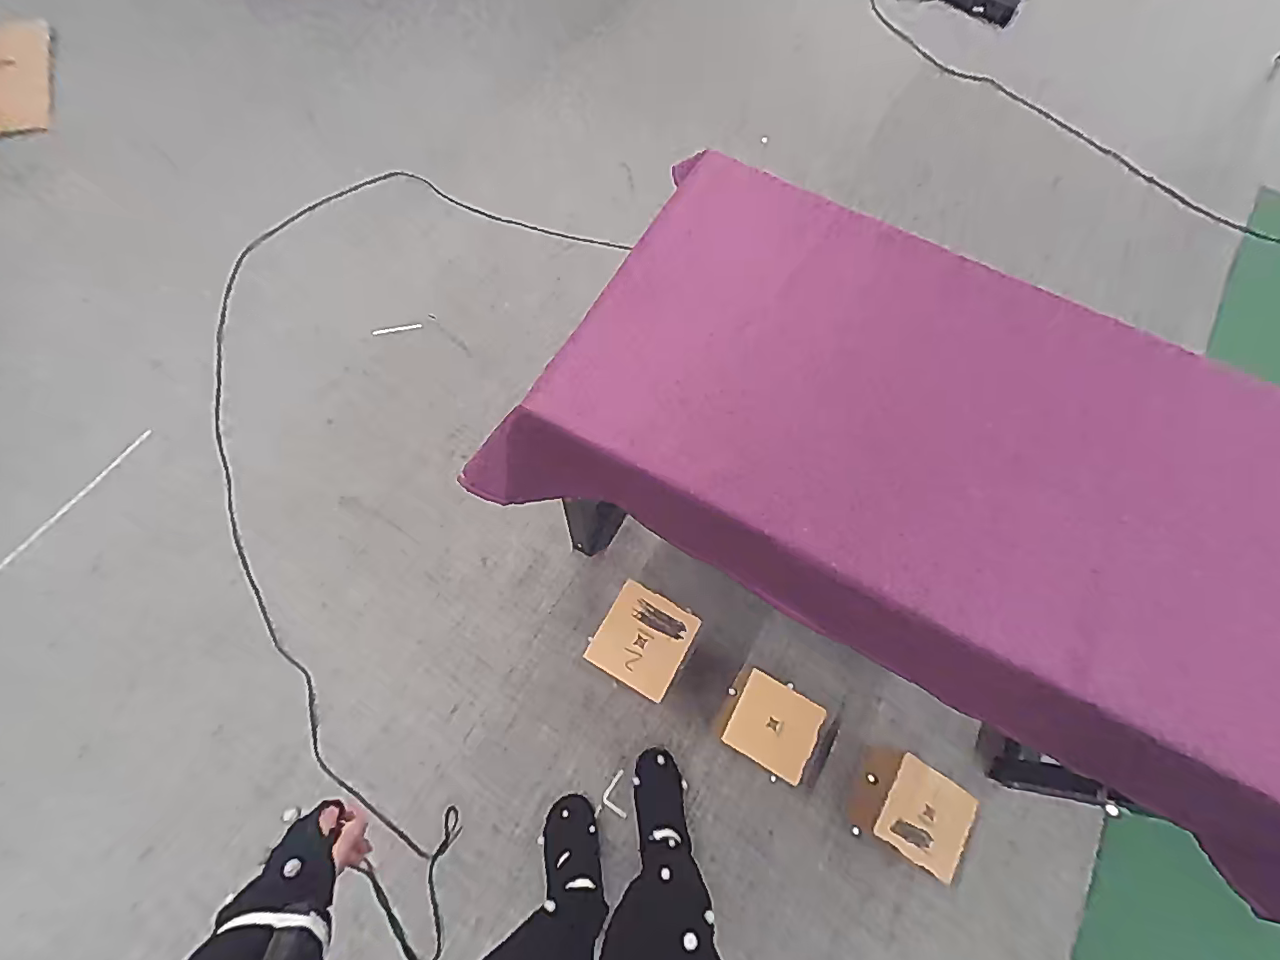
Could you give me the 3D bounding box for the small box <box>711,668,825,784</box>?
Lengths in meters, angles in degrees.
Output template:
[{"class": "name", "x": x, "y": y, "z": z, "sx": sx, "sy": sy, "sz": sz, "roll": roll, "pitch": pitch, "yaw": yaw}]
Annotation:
[{"class": "small box", "x": 0.275, "y": 0.544, "z": 1.206, "sx": 0.179, "sy": 0.176, "sz": 0.168, "roll": 29, "pitch": 69, "yaw": 9}]
